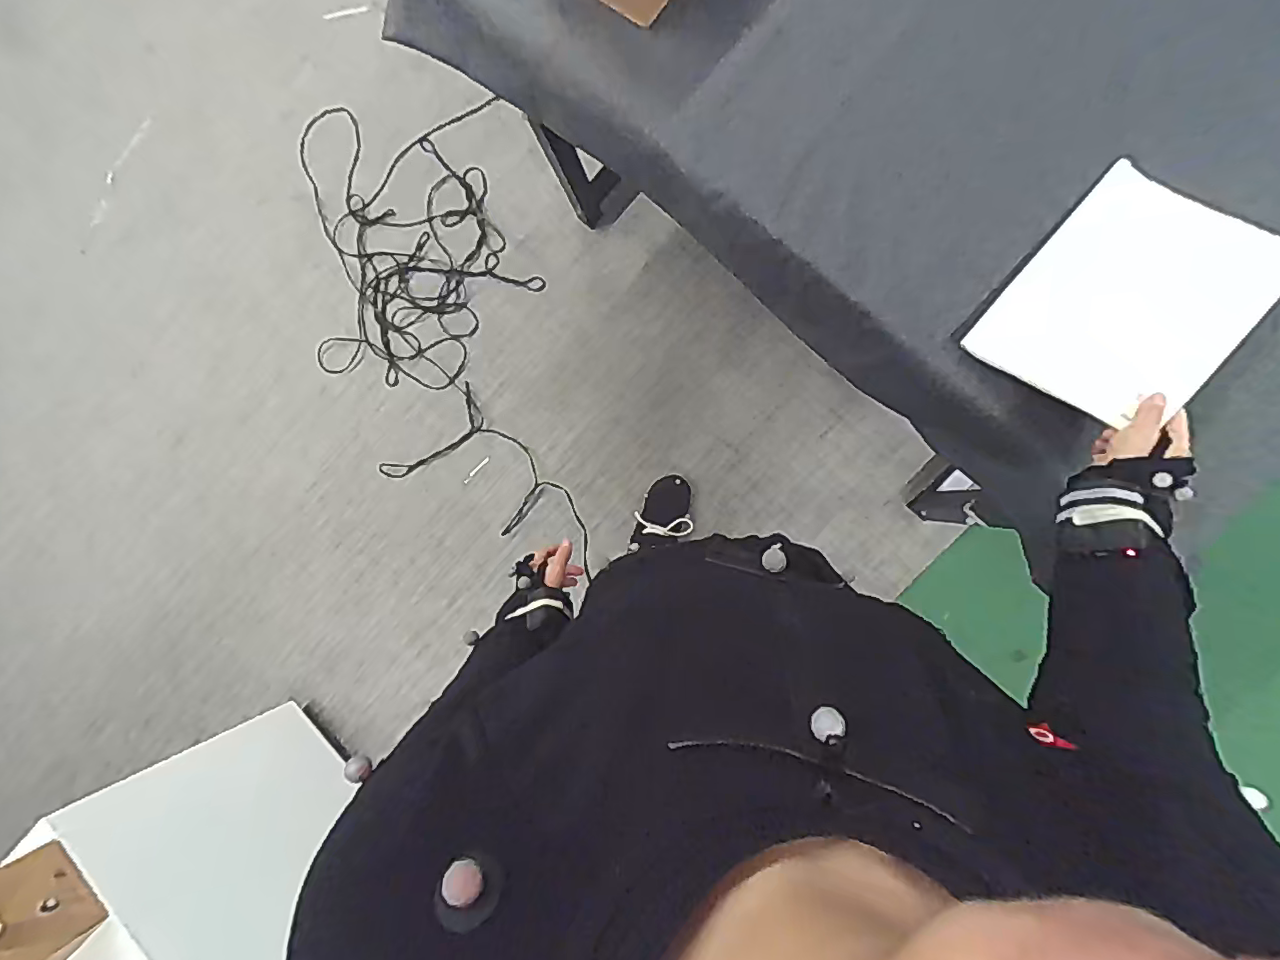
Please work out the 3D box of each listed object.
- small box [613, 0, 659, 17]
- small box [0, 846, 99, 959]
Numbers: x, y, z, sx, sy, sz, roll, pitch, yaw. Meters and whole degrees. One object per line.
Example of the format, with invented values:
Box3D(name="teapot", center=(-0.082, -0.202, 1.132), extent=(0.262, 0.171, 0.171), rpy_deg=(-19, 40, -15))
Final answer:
Box3D(name="small box", center=(-0.016, -0.683, 0.598), extent=(0.168, 0.176, 0.179), rpy_deg=(38, 93, 6))
Box3D(name="small box", center=(-1.015, 0.729, 0.836), extent=(0.168, 0.176, 0.179), rpy_deg=(45, 95, 8))
